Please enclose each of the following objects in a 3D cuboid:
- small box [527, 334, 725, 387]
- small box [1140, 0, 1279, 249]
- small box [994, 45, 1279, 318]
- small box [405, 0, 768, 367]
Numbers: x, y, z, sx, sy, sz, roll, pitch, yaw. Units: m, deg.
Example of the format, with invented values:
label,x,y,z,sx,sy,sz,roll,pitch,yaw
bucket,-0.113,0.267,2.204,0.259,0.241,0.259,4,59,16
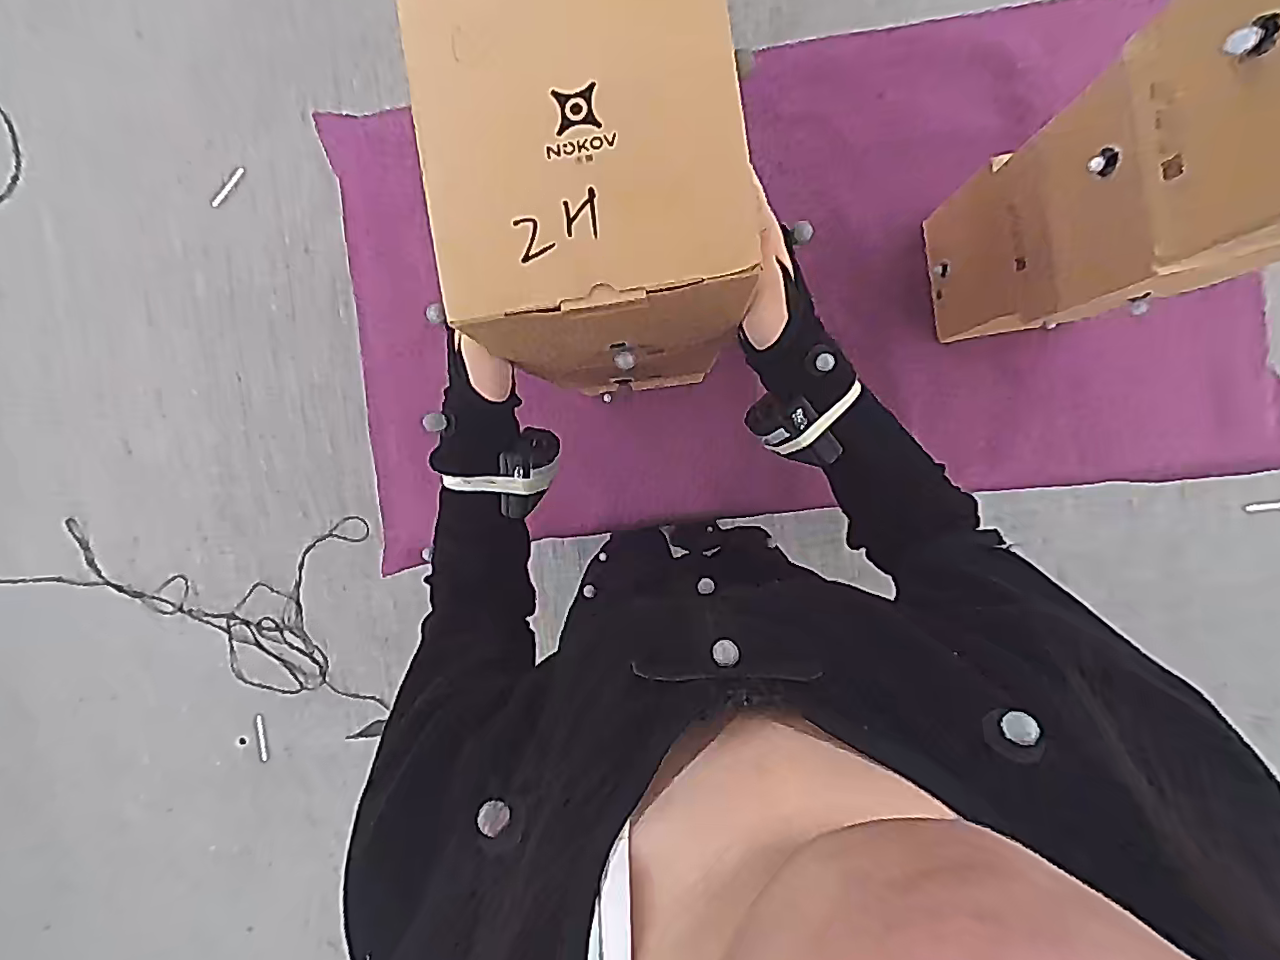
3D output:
label,x,y,z,sx,sy,sz,roll,pitch,yaw
small box,-0.016,-0.193,0.516,0.168,0.176,0.179,-7,94,5
small box,0.448,-0.259,0.316,0.179,0.176,0.168,-11,92,5
small box,0.461,-0.259,0.479,0.179,0.176,0.168,-12,92,4
small box,-0.024,-0.184,0.348,0.168,0.176,0.179,-9,91,4
